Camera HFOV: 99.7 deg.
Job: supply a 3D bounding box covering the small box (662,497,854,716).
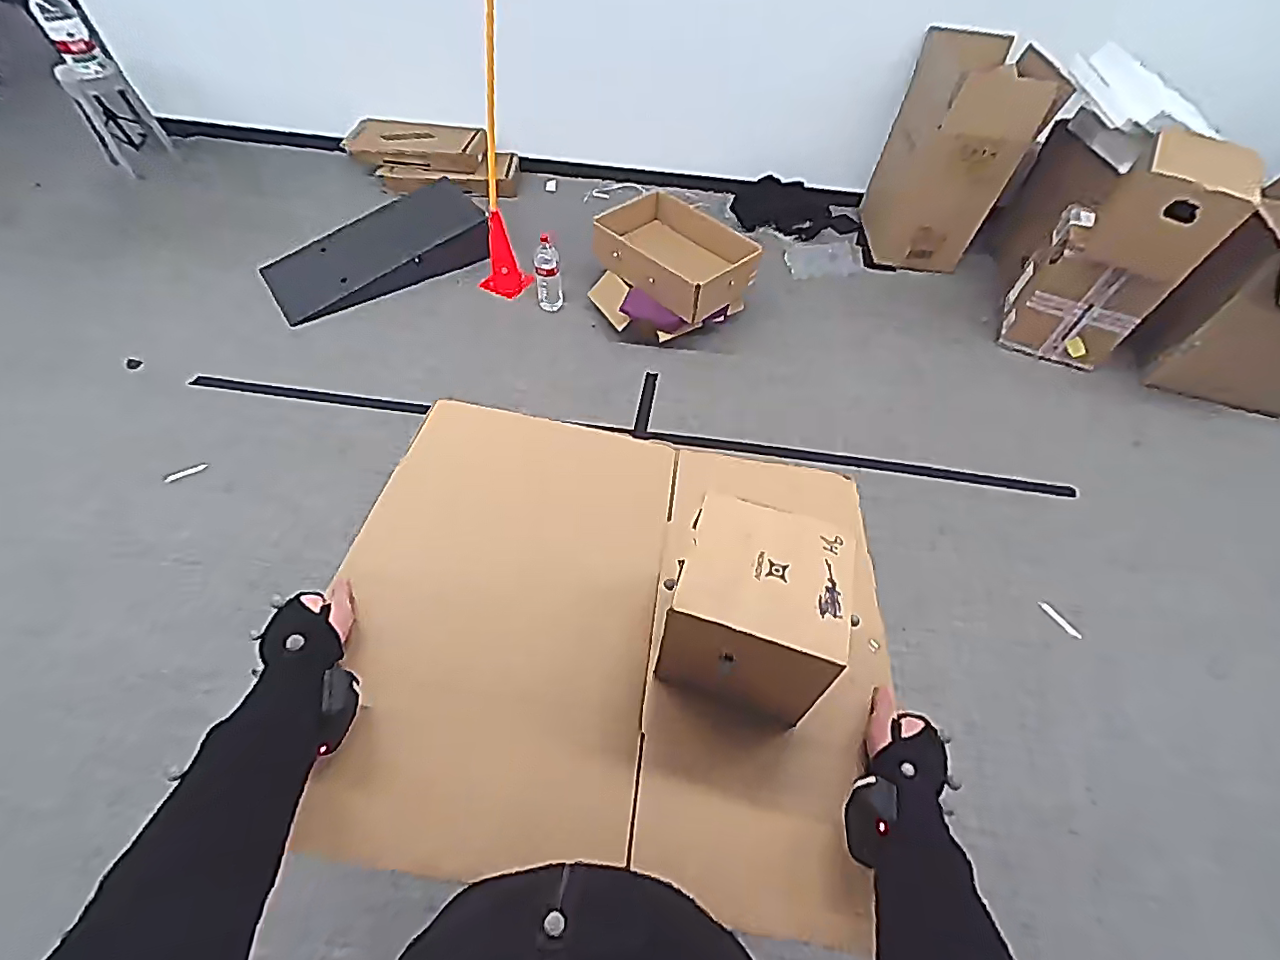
[{"bbox_3d":[0.132,0.151,0.633,0.179,0.176,0.168,15,49,9],"label":"small box"}]
